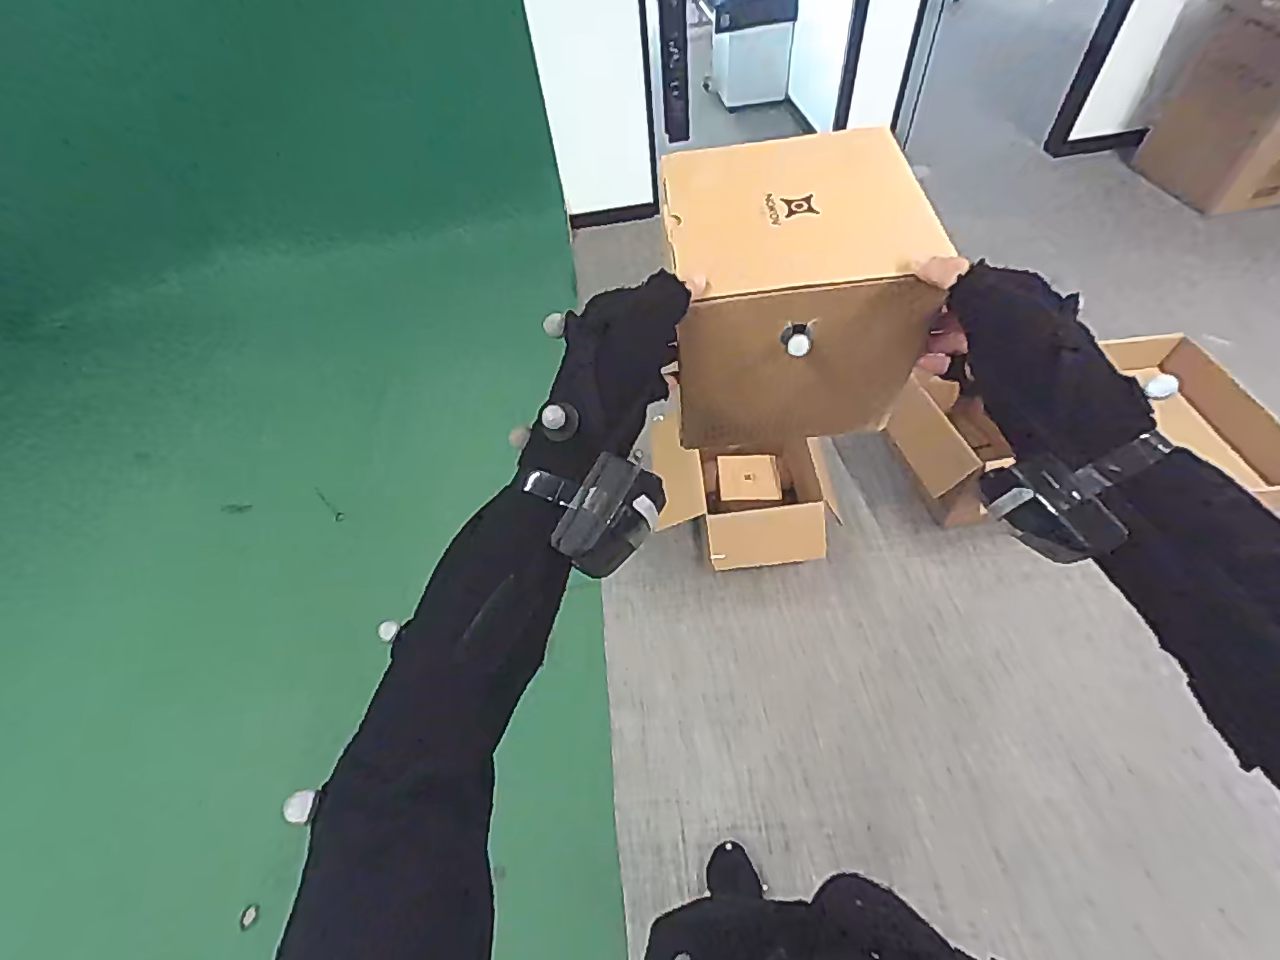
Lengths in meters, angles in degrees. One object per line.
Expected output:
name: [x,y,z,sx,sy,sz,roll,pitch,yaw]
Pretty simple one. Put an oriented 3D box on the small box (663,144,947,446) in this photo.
small box: [0.114,-0.145,0.457,0.179,0.176,0.168,-6,58,3]
